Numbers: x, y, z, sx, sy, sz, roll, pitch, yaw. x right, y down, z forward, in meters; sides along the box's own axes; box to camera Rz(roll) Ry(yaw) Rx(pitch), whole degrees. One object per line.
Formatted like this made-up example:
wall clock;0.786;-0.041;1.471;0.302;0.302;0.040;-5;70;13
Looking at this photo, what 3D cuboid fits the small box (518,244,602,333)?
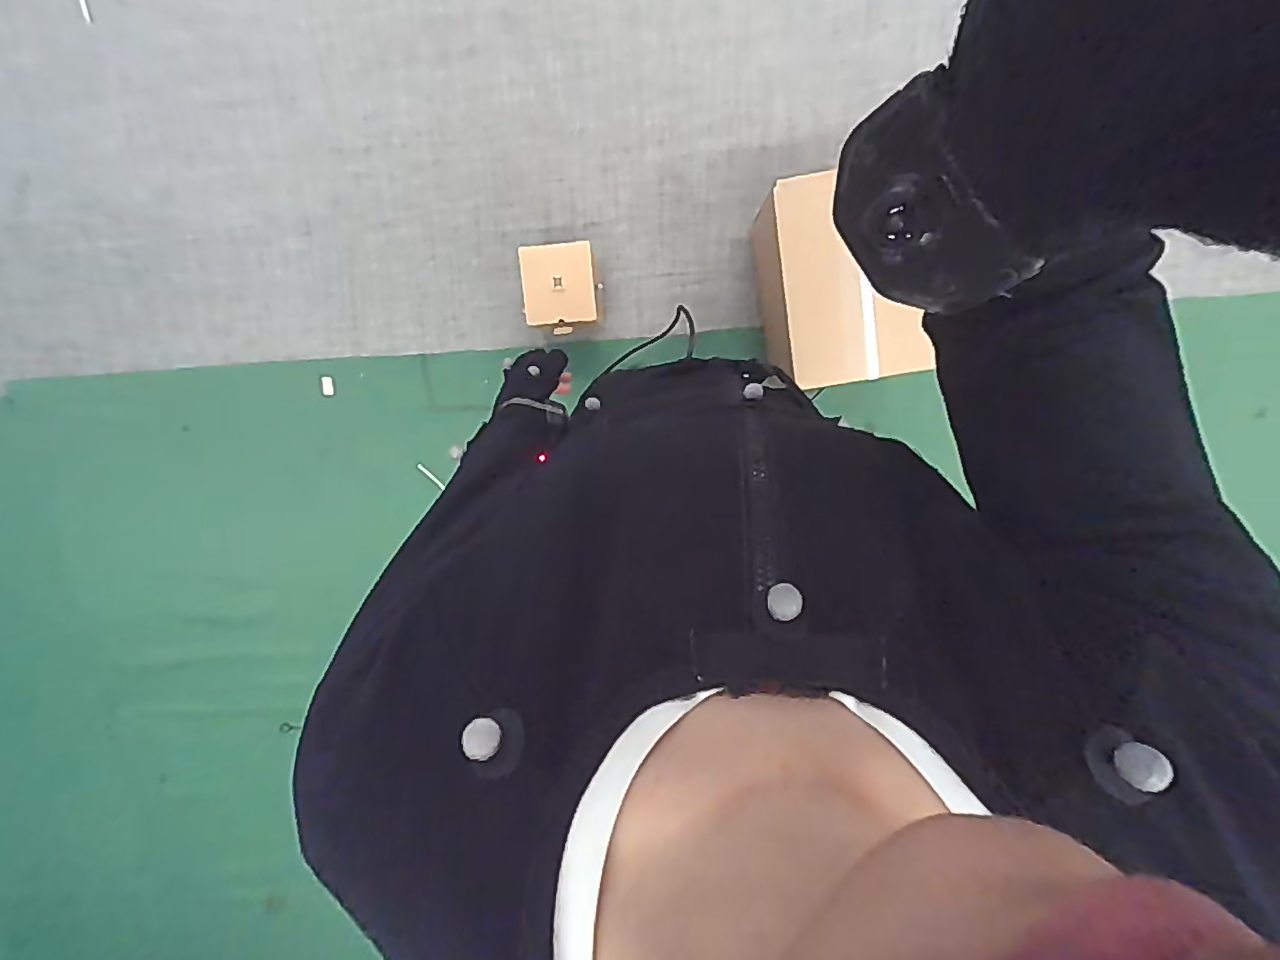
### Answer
small box;-0.188;-0.460;1.317;0.168;0.176;0.179;-5;102;3
